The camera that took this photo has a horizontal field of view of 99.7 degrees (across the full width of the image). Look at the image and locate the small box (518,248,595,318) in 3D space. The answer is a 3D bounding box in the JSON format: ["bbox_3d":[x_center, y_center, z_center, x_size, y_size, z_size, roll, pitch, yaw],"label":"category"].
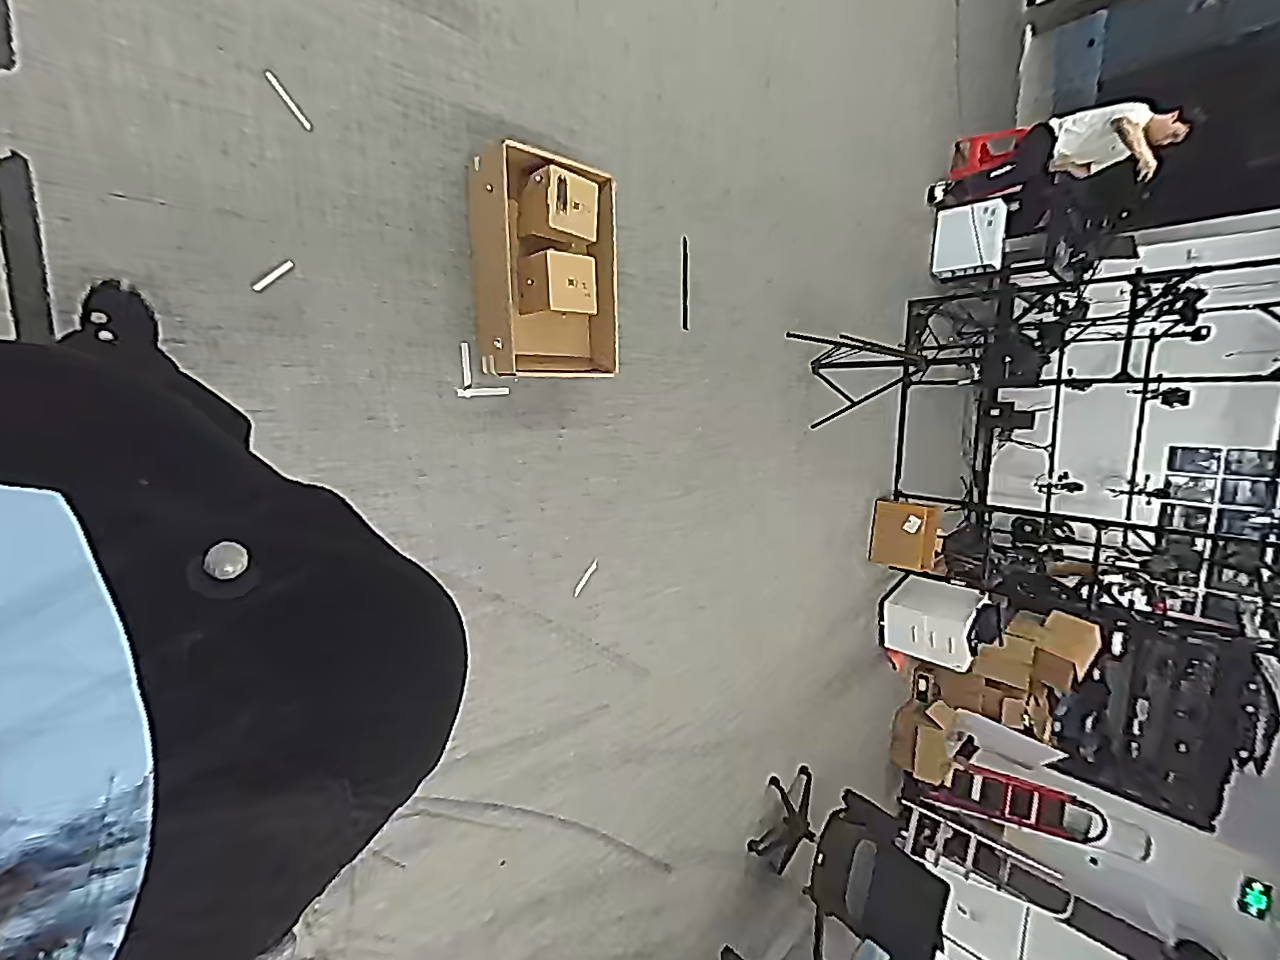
[{"bbox_3d":[-0.258,-0.589,1.640,0.179,0.176,0.168,-11,104,-43],"label":"small box"}]
